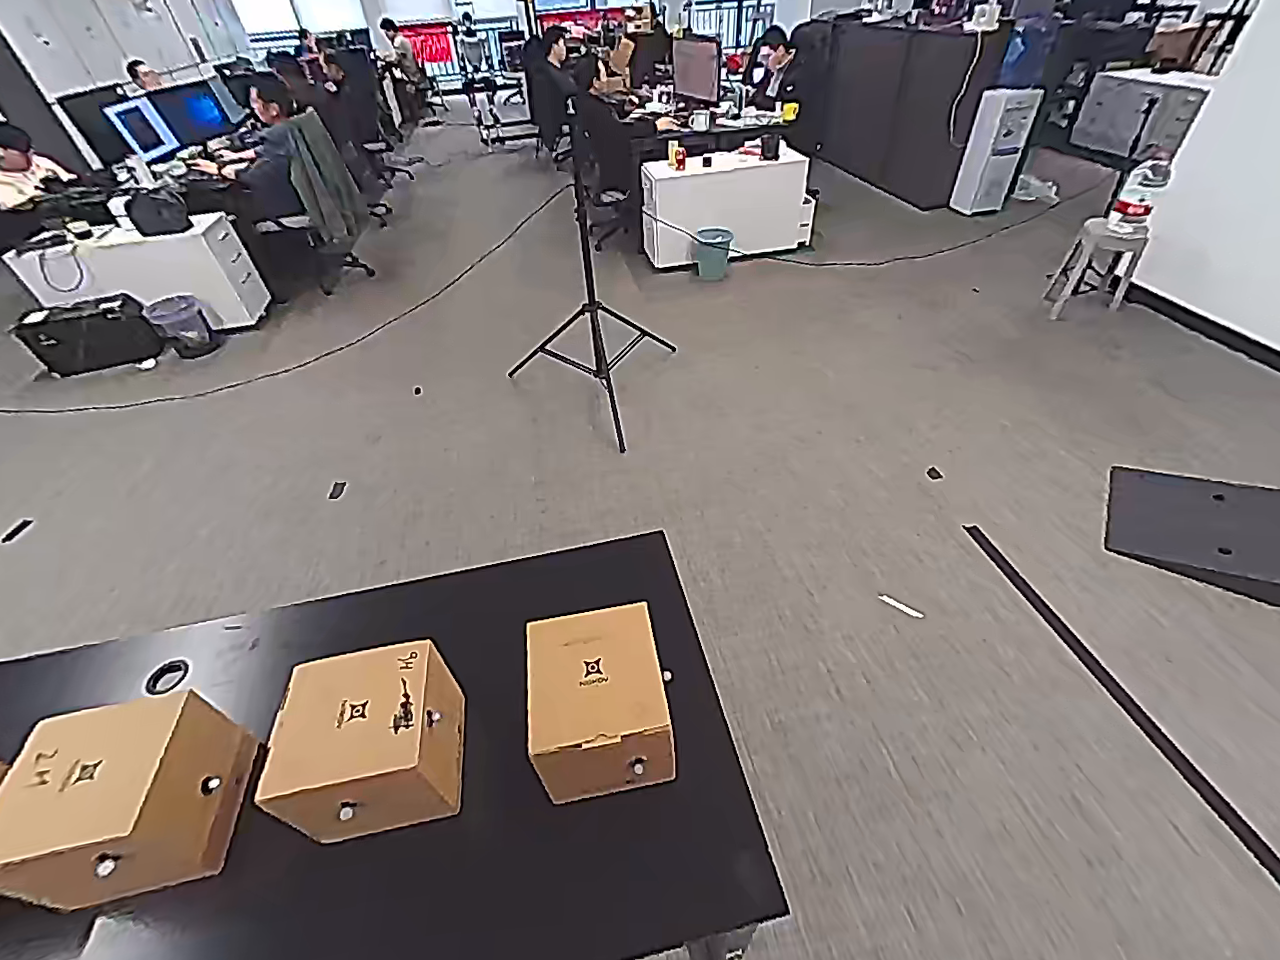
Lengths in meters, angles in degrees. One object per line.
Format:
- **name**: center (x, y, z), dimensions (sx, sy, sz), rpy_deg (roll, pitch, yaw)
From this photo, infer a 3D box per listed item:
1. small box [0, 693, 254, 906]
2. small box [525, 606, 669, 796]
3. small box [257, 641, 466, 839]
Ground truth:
- **small box**: center (-0.630, 0.397, 0.673), dimensions (0.179, 0.176, 0.168), rpy_deg (-11, 43, -7)
- **small box**: center (-0.057, 0.301, 0.730), dimensions (0.168, 0.176, 0.179), rpy_deg (-9, 42, -5)
- **small box**: center (-0.344, 0.343, 0.710), dimensions (0.179, 0.176, 0.168), rpy_deg (-10, 43, -5)
